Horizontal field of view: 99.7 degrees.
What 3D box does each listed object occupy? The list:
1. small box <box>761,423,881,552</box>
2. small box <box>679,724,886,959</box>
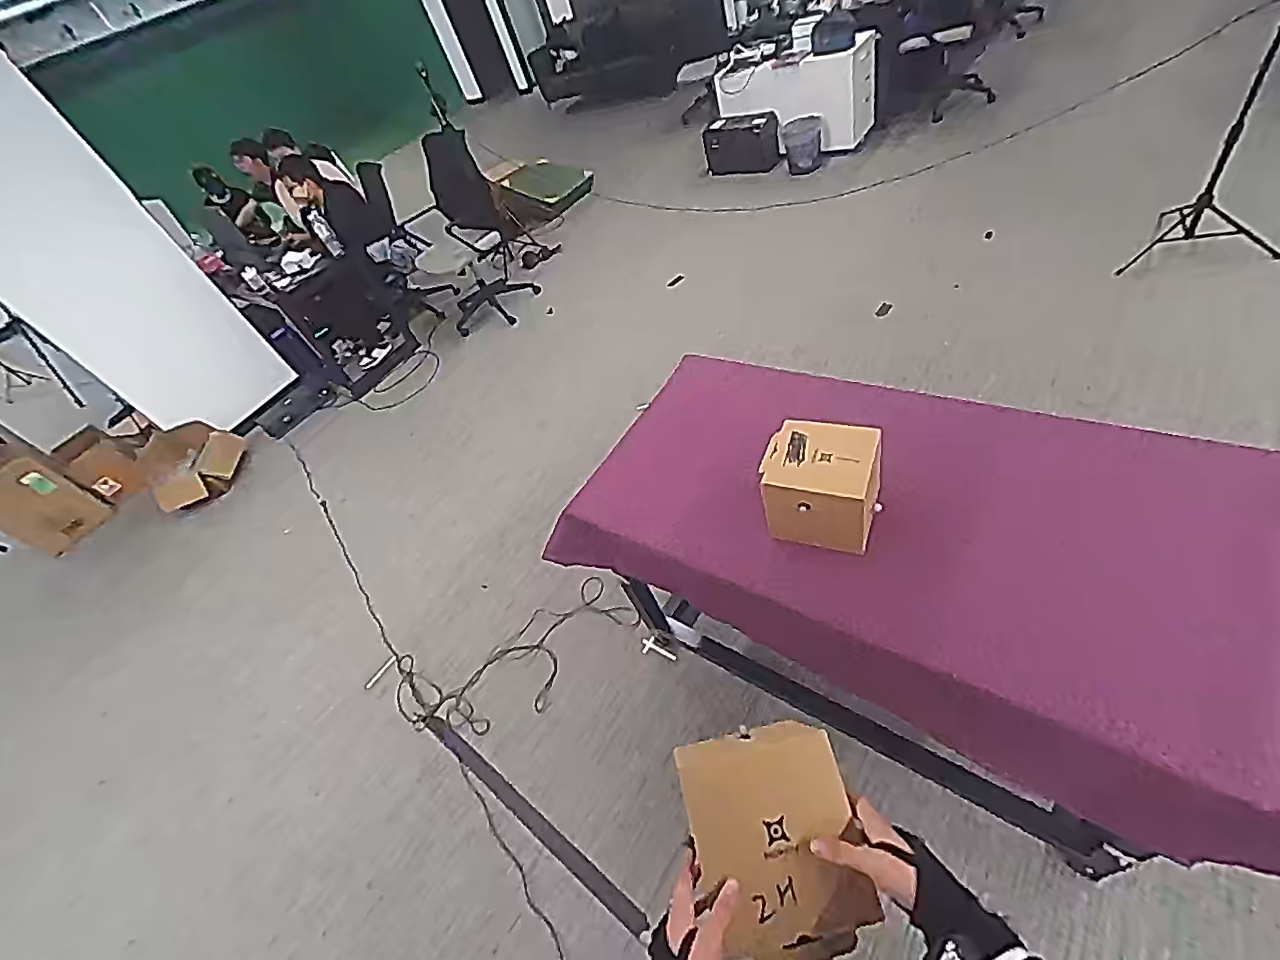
[{"bbox_3d":[0.342,0.015,1.009,0.179,0.176,0.168,9,54,28],"label":"small box"},{"bbox_3d":[0.142,0.387,0.618,0.168,0.176,0.179,-12,70,-2],"label":"small box"}]
